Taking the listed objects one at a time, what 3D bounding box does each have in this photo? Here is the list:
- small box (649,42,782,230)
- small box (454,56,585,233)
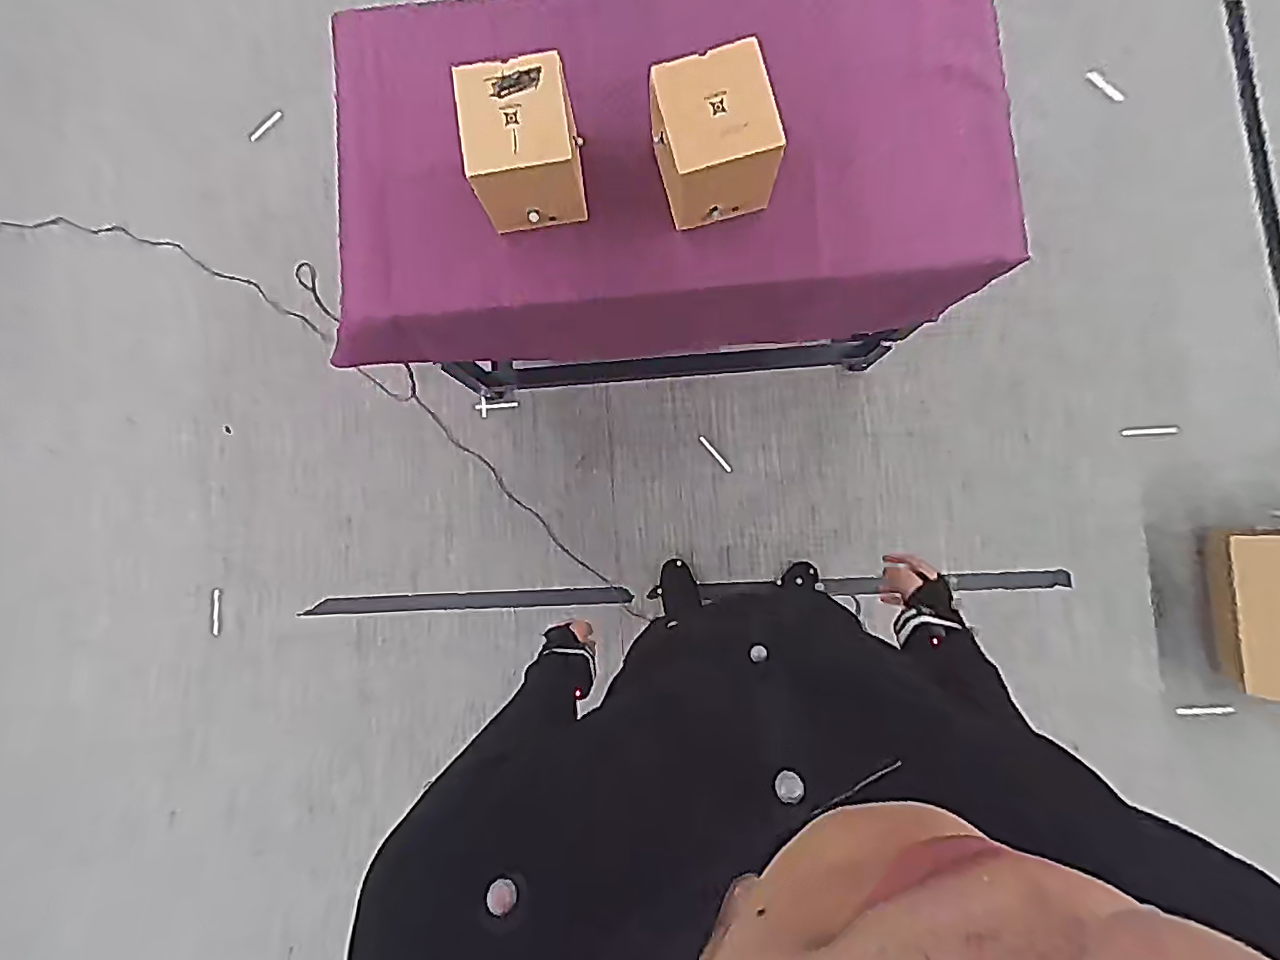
[{"bbox_3d":[0.114,-0.548,0.884,0.168,0.176,0.179,-15,85,2],"label":"small box"},{"bbox_3d":[-0.192,-0.544,0.897,0.168,0.176,0.179,-8,86,2],"label":"small box"}]
